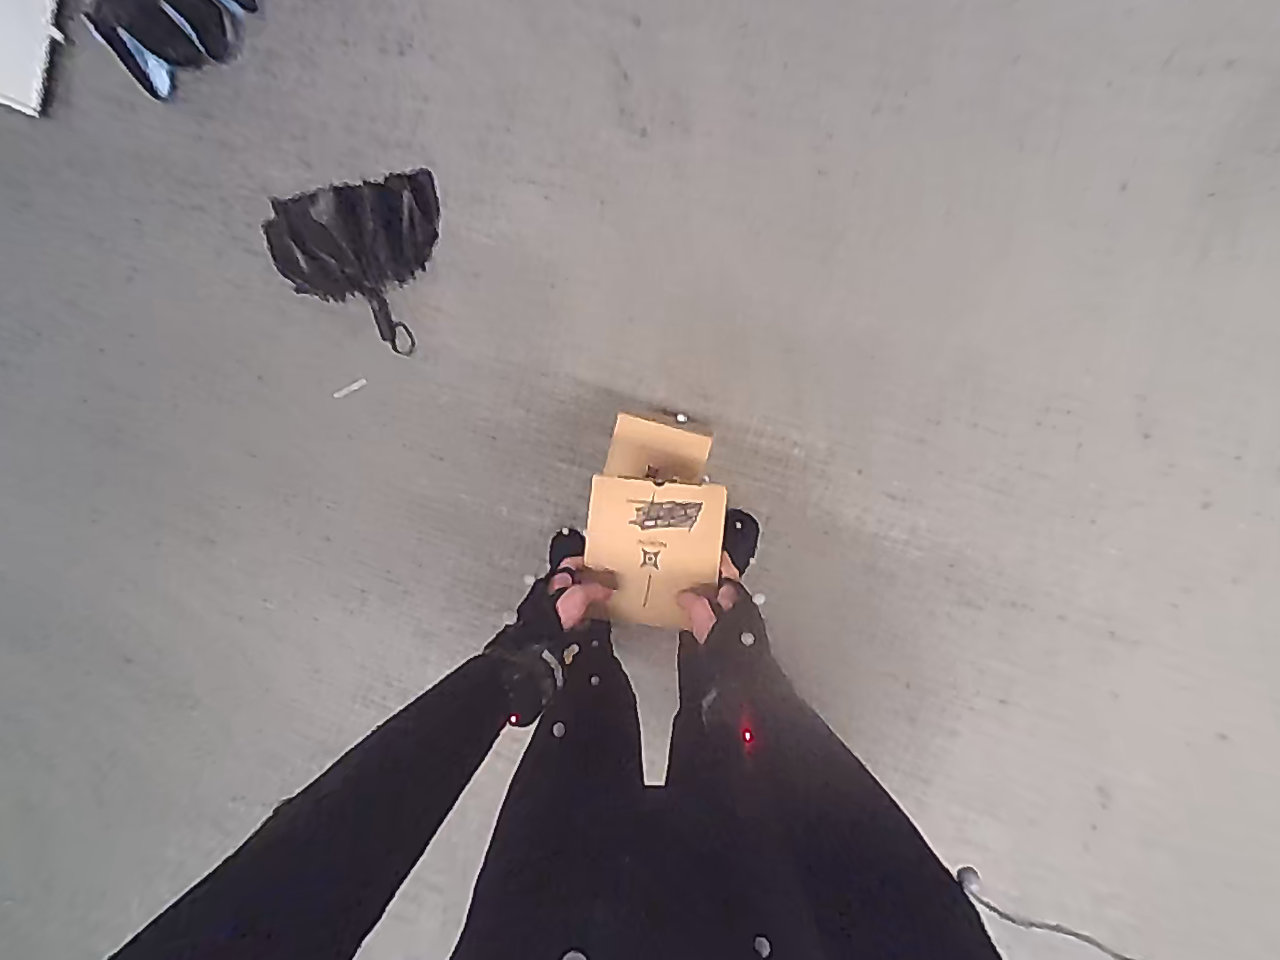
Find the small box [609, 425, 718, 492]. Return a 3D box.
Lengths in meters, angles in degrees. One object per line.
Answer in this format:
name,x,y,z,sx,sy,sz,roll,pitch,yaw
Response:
small box,0.043,0.004,0.980,0.168,0.176,0.179,15,97,8

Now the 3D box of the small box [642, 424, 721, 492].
small box,0.072,-0.013,1.139,0.168,0.176,0.179,15,99,8

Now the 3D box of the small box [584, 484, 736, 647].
small box,0.033,0.105,0.706,0.168,0.176,0.179,4,85,9
